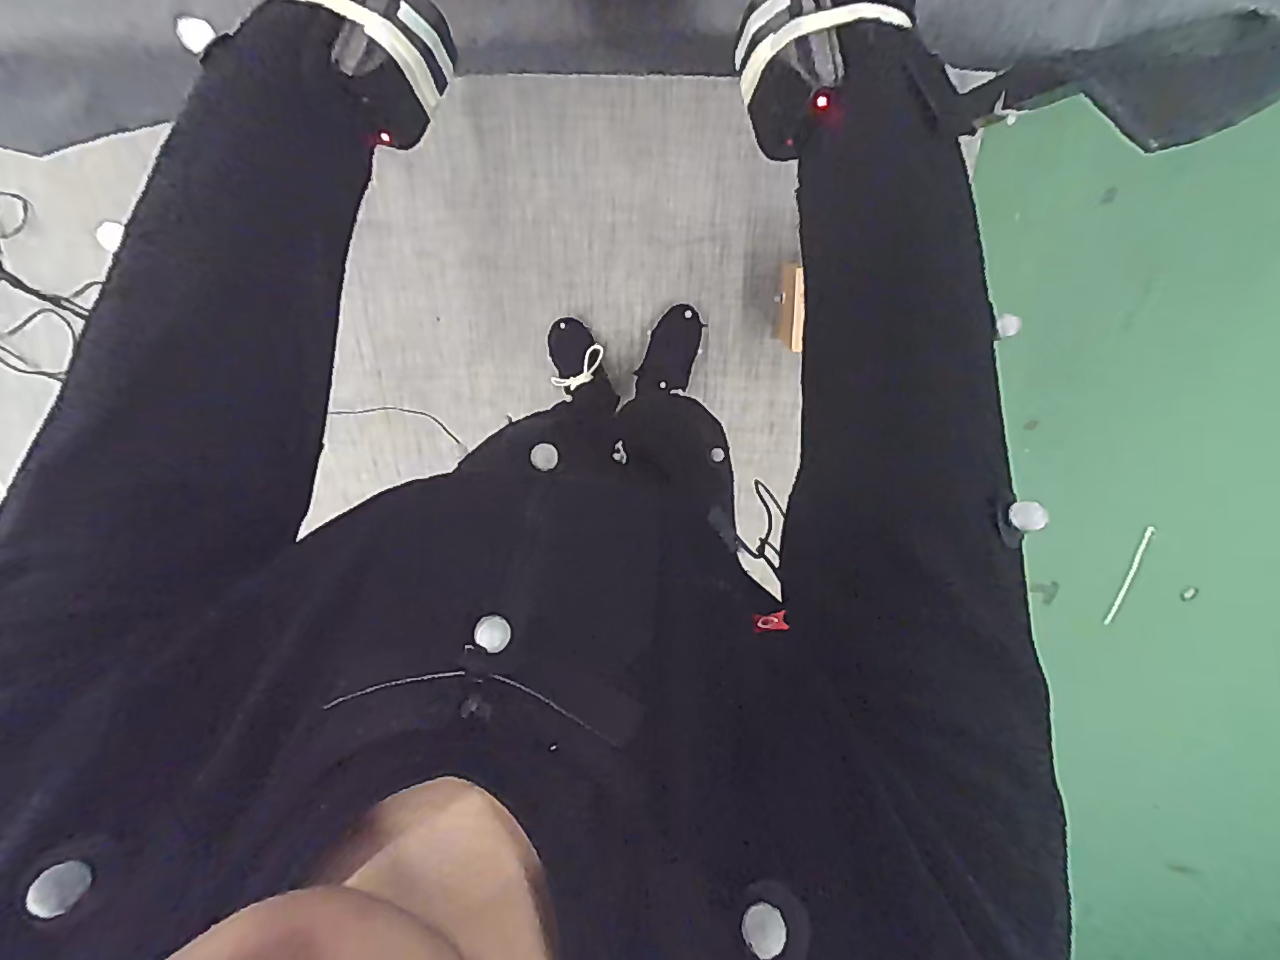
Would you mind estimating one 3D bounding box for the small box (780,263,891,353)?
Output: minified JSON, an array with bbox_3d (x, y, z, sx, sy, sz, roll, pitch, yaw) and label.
[{"bbox_3d":[0.404,-0.367,1.145,0.179,0.176,0.168,-1,113,5],"label":"small box"}]
